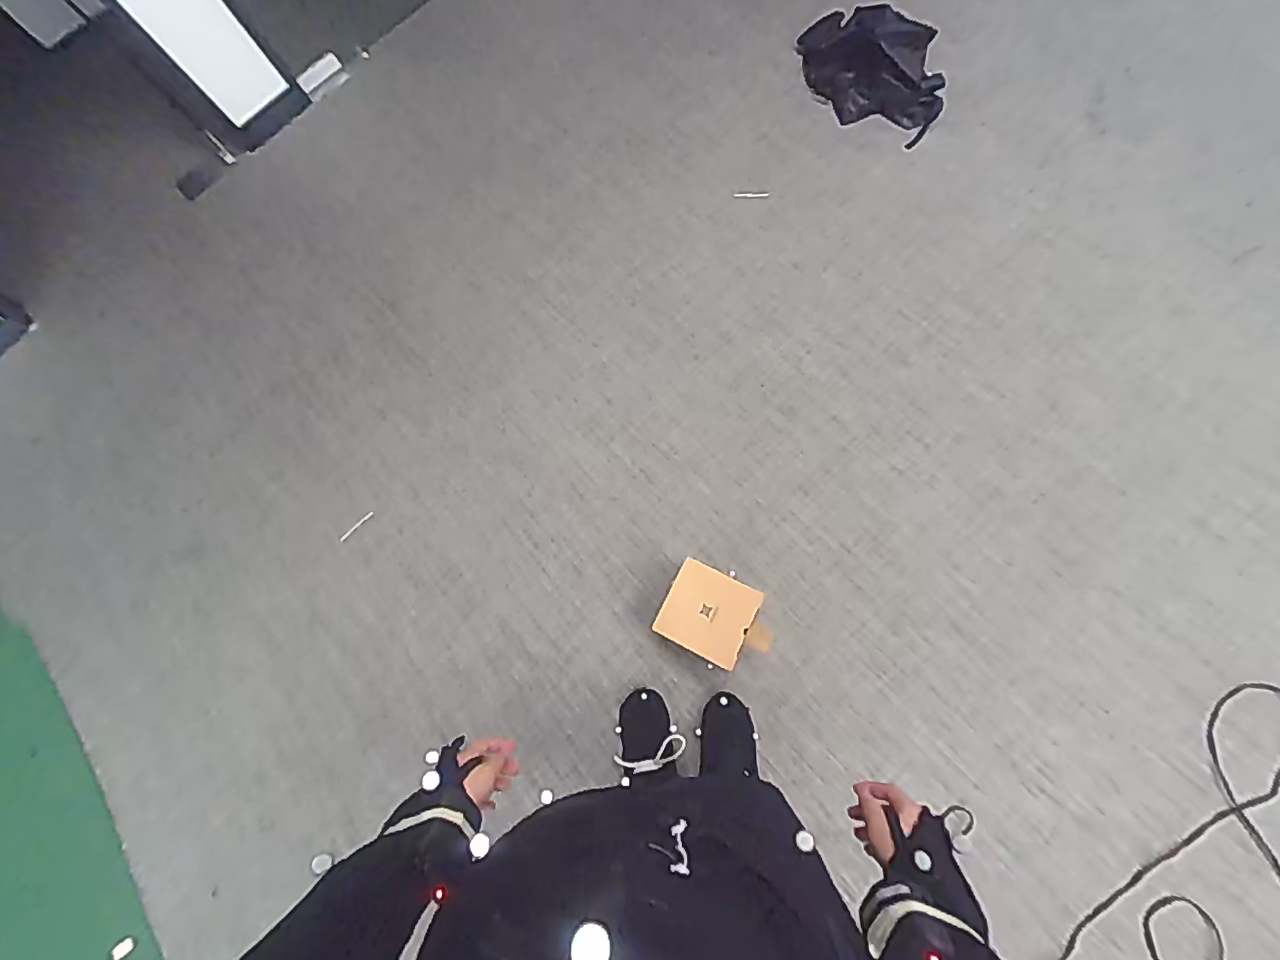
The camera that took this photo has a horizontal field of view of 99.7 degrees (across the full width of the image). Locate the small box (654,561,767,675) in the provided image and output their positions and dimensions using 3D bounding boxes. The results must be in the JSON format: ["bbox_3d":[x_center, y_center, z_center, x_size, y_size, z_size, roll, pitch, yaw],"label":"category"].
[{"bbox_3d":[0.149,0.294,1.144,0.179,0.176,0.168,25,78,15],"label":"small box"}]
